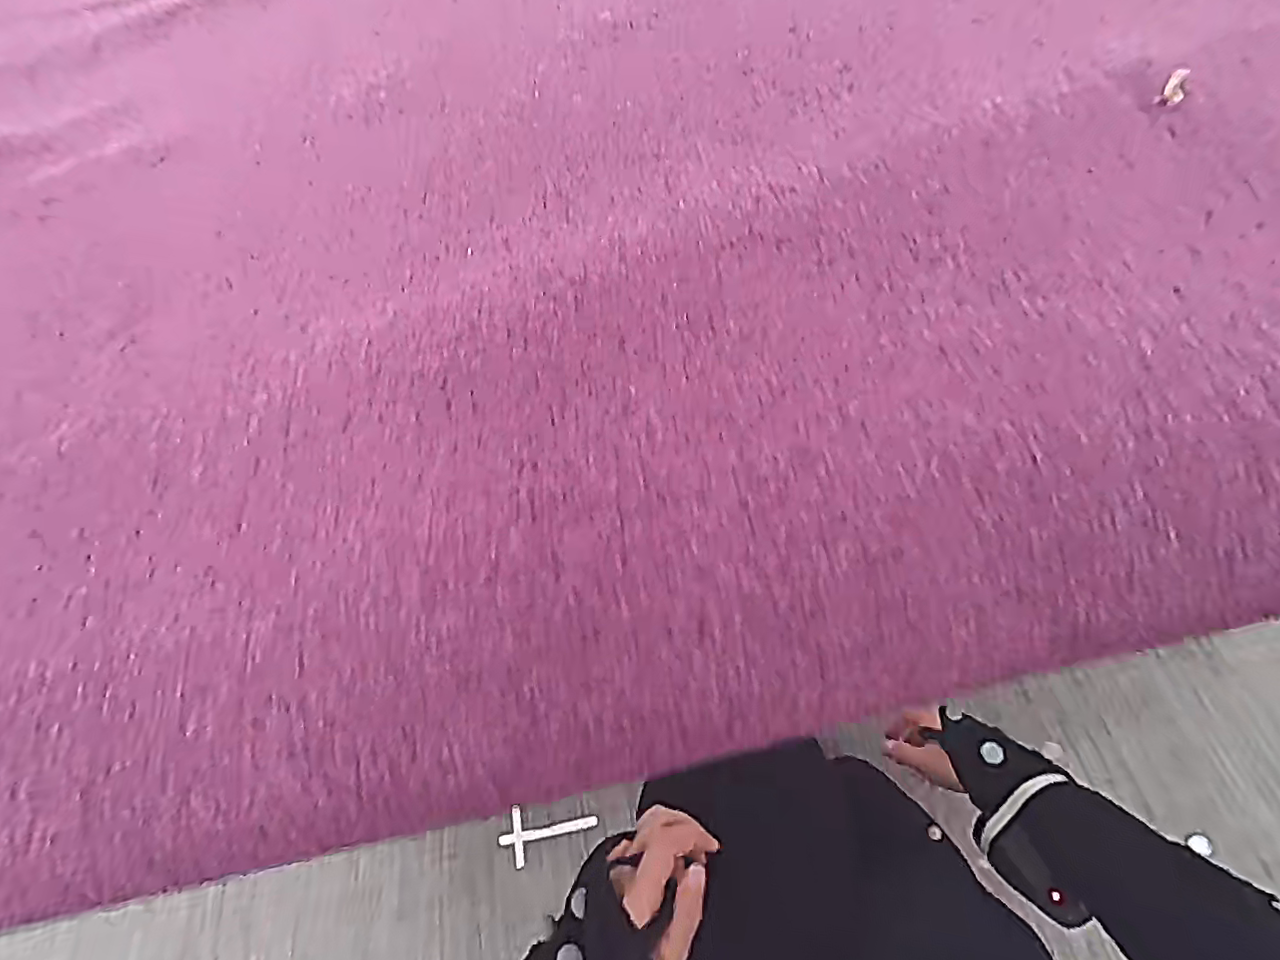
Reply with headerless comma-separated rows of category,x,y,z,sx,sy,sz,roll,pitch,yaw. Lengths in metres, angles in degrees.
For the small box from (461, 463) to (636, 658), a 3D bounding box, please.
small box,-0.110,0.109,0.686,0.168,0.176,0.179,-16,62,0
